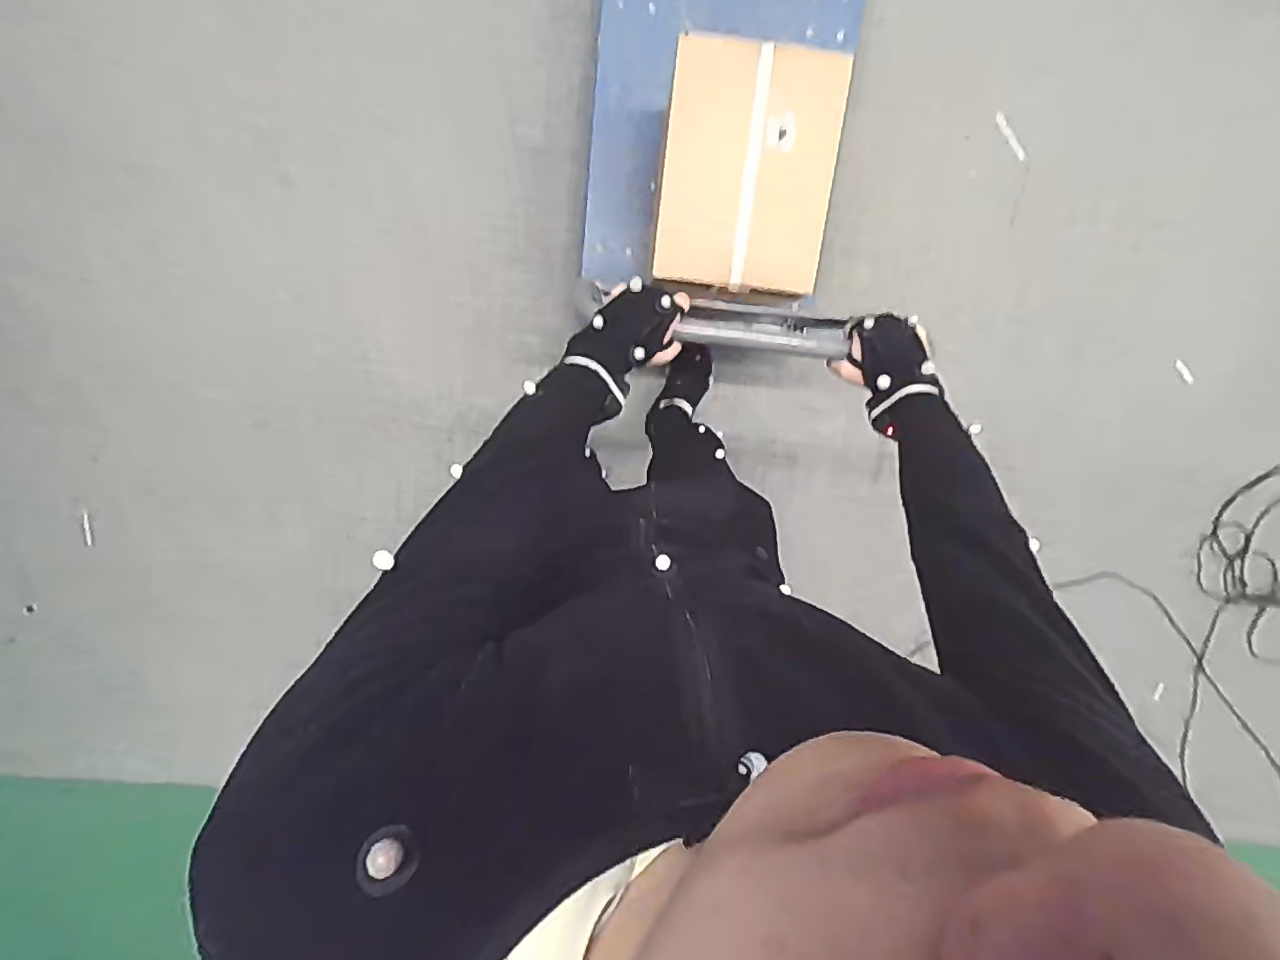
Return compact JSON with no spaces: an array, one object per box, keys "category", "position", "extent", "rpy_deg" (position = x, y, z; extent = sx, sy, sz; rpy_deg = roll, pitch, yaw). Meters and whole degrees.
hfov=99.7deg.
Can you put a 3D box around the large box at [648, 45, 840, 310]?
[{"category":"large box","position":[0.188,-0.590,1.142],"extent":[0.320,0.320,0.408],"rpy_deg":[5,101,-4]}]
